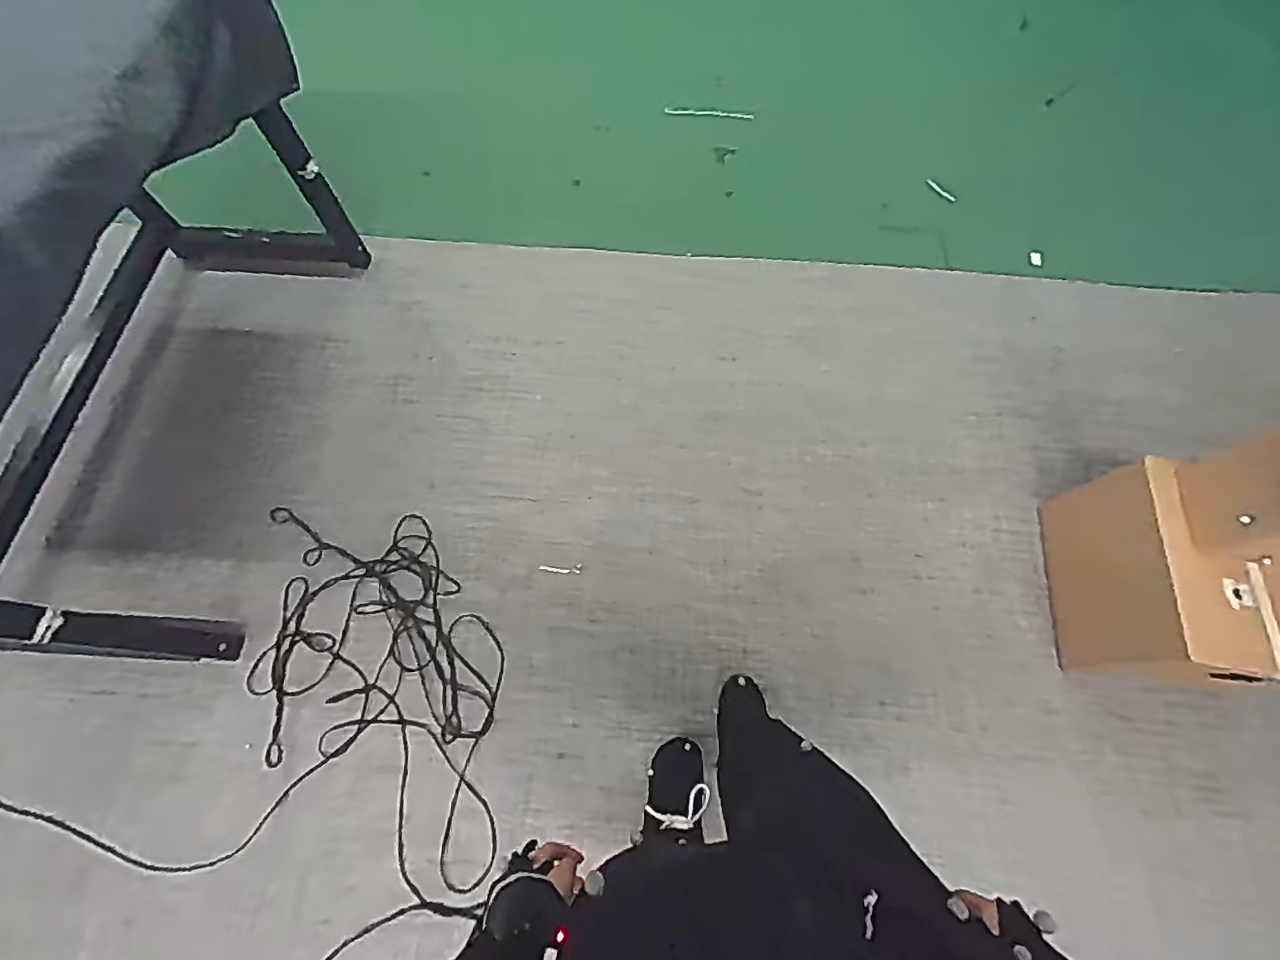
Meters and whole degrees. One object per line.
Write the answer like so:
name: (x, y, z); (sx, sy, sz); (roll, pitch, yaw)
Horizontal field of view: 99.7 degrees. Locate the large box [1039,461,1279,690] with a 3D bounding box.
large box: (1.124, 0.212, 1.144); (0.320, 0.320, 0.408); (7, 69, 3)
